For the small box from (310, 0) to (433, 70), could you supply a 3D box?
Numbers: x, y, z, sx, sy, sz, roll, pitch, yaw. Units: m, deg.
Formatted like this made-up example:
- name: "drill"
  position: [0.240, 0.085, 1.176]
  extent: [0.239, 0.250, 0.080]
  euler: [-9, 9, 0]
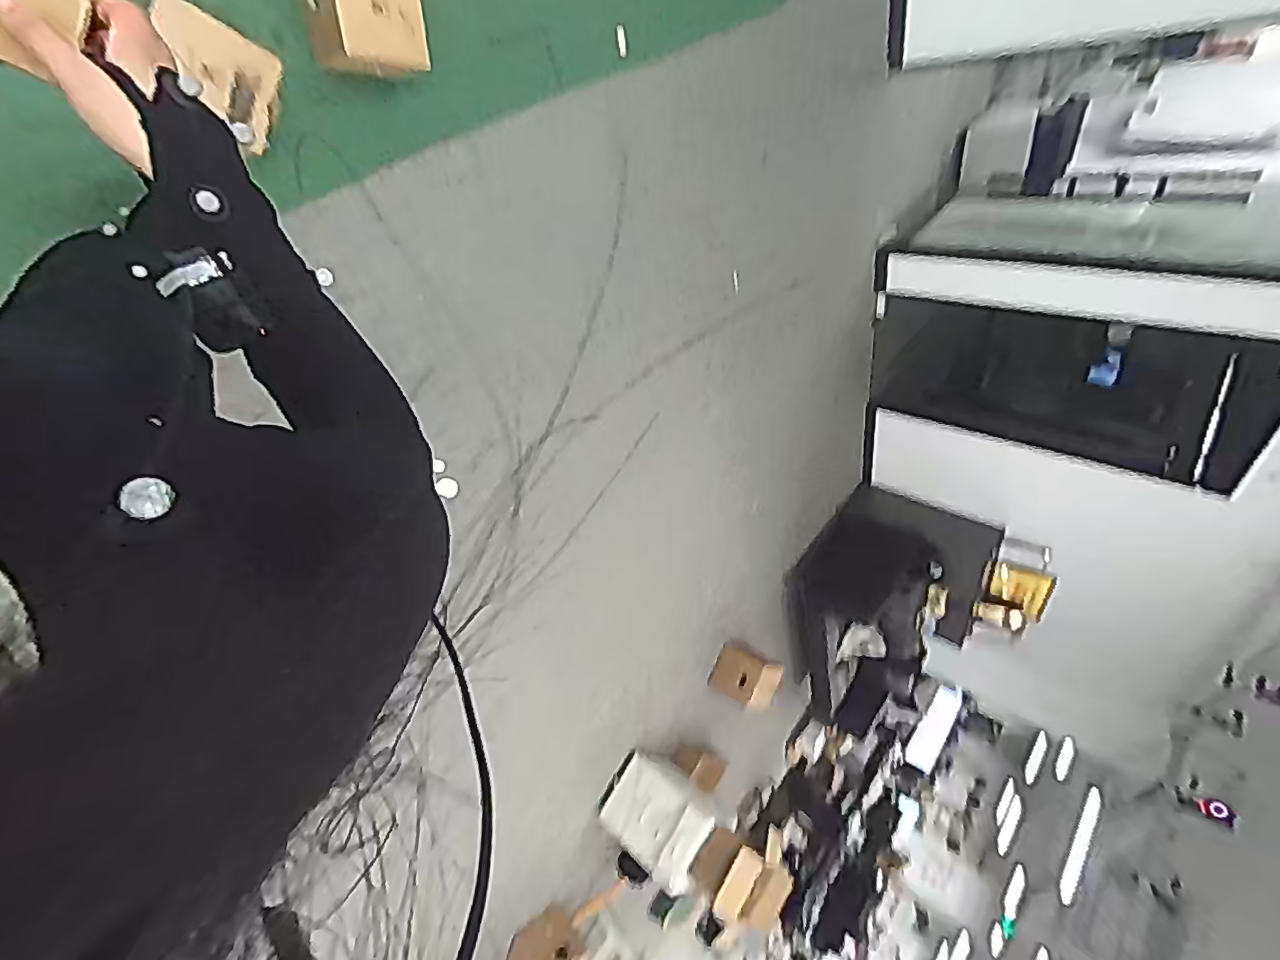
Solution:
- name: "small box"
  position: [-0.551, -0.948, 1.093]
  extent: [0.179, 0.176, 0.168]
  euler: [-26, 129, -40]
